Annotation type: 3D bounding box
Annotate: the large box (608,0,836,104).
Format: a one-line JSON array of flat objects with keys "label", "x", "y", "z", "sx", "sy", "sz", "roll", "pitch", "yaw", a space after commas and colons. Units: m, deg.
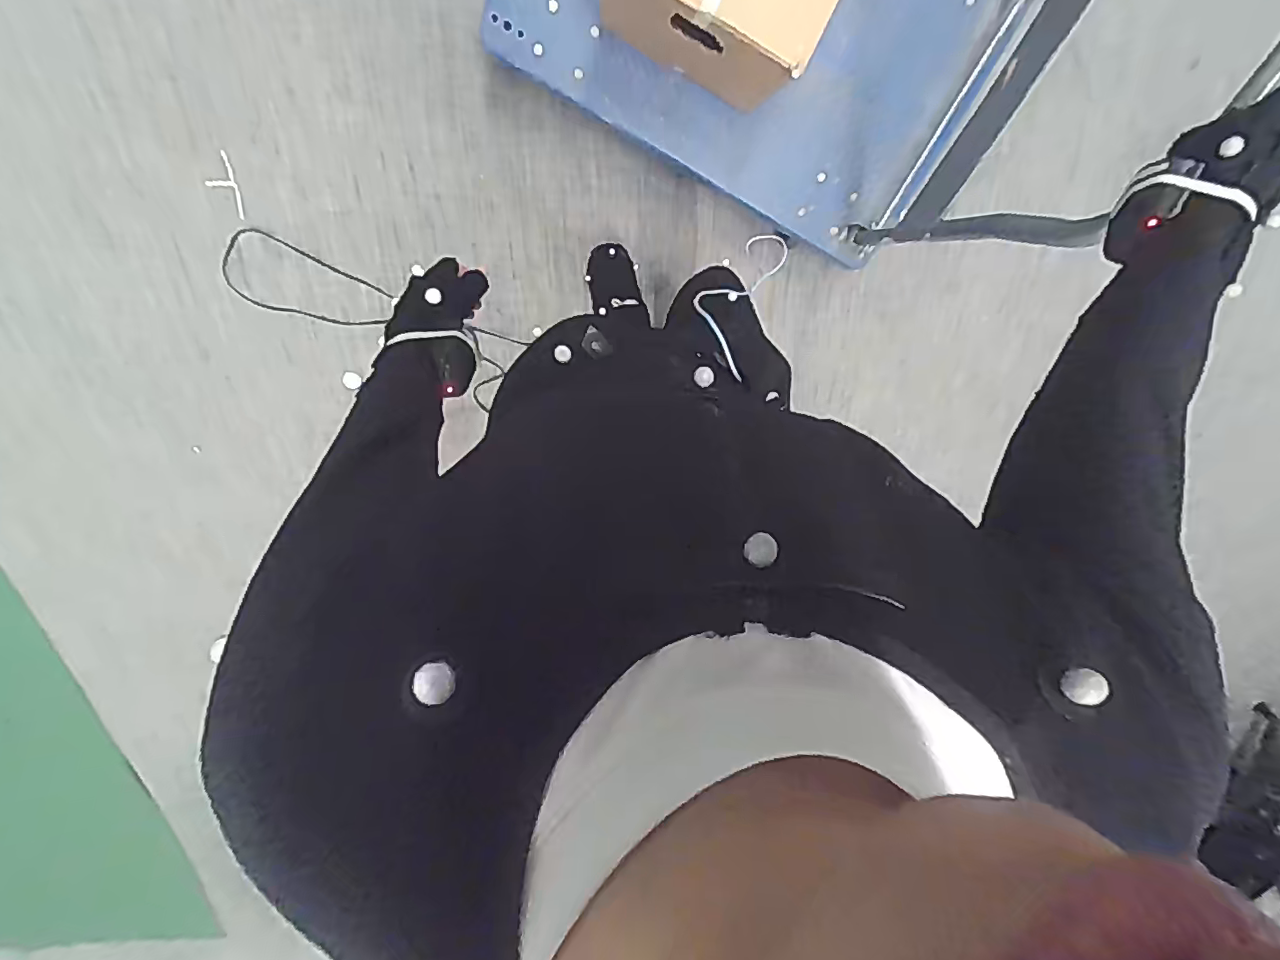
[{"label": "large box", "x": 0.164, "y": -0.858, "z": 0.783, "sx": 0.320, "sy": 0.320, "sz": 0.408, "roll": 22, "pitch": 114, "yaw": -11}]
